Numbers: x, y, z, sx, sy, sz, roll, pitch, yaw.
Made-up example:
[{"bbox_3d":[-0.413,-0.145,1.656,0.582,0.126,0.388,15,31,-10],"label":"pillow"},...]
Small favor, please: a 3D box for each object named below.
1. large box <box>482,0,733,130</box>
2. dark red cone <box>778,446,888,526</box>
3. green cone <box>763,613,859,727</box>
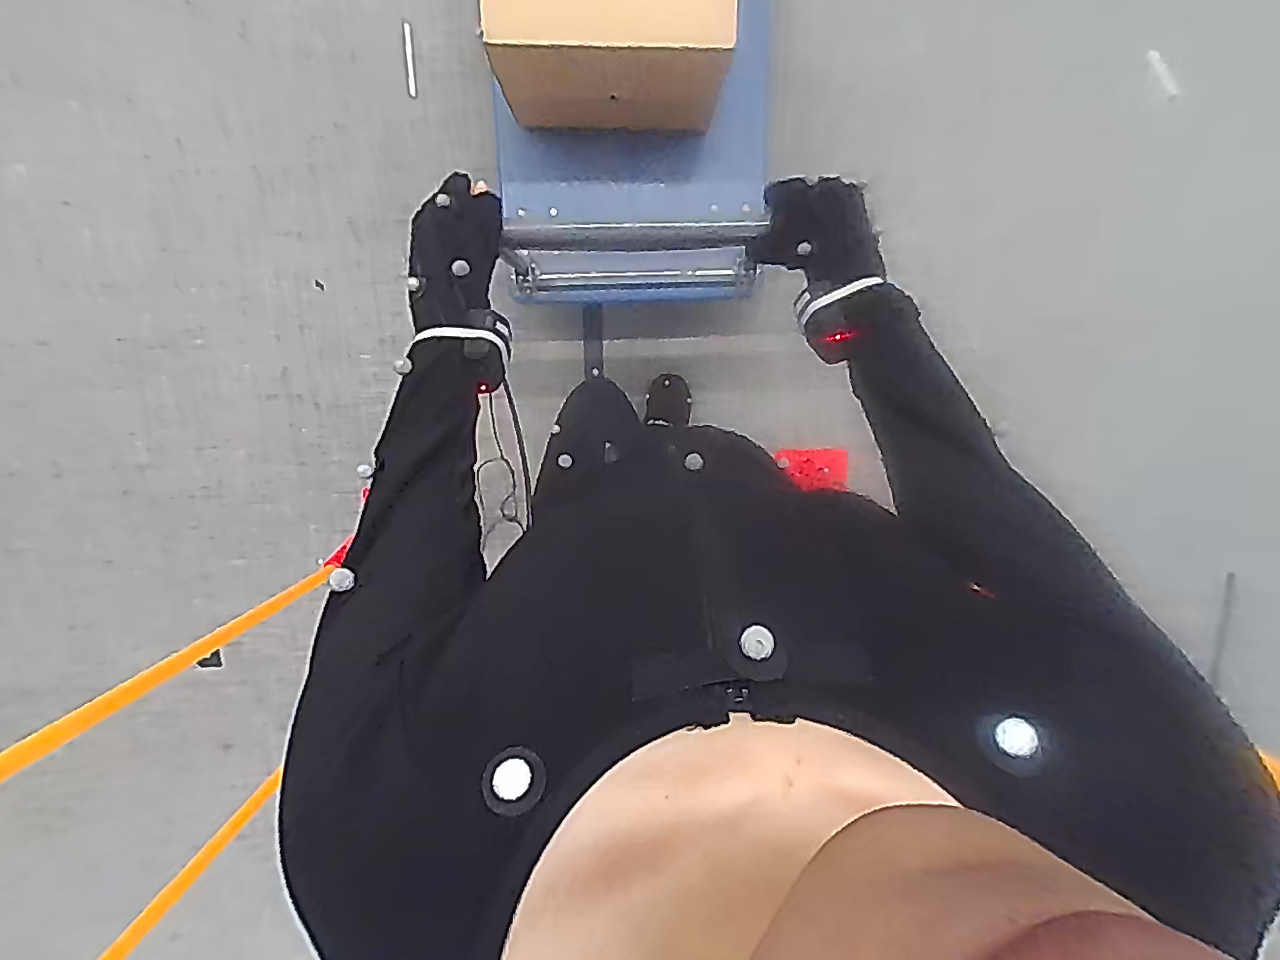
[{"bbox_3d":[-0.052,-0.865,0.981,0.408,0.320,0.320,0,102,-1],"label":"large box"},{"bbox_3d":[0.478,0.041,1.294,0.201,0.394,0.202,-2,101,-2],"label":"dark red cone"},{"bbox_3d":[0.468,0.514,1.404,0.202,0.368,0.200,2,101,-3],"label":"green cone"}]
